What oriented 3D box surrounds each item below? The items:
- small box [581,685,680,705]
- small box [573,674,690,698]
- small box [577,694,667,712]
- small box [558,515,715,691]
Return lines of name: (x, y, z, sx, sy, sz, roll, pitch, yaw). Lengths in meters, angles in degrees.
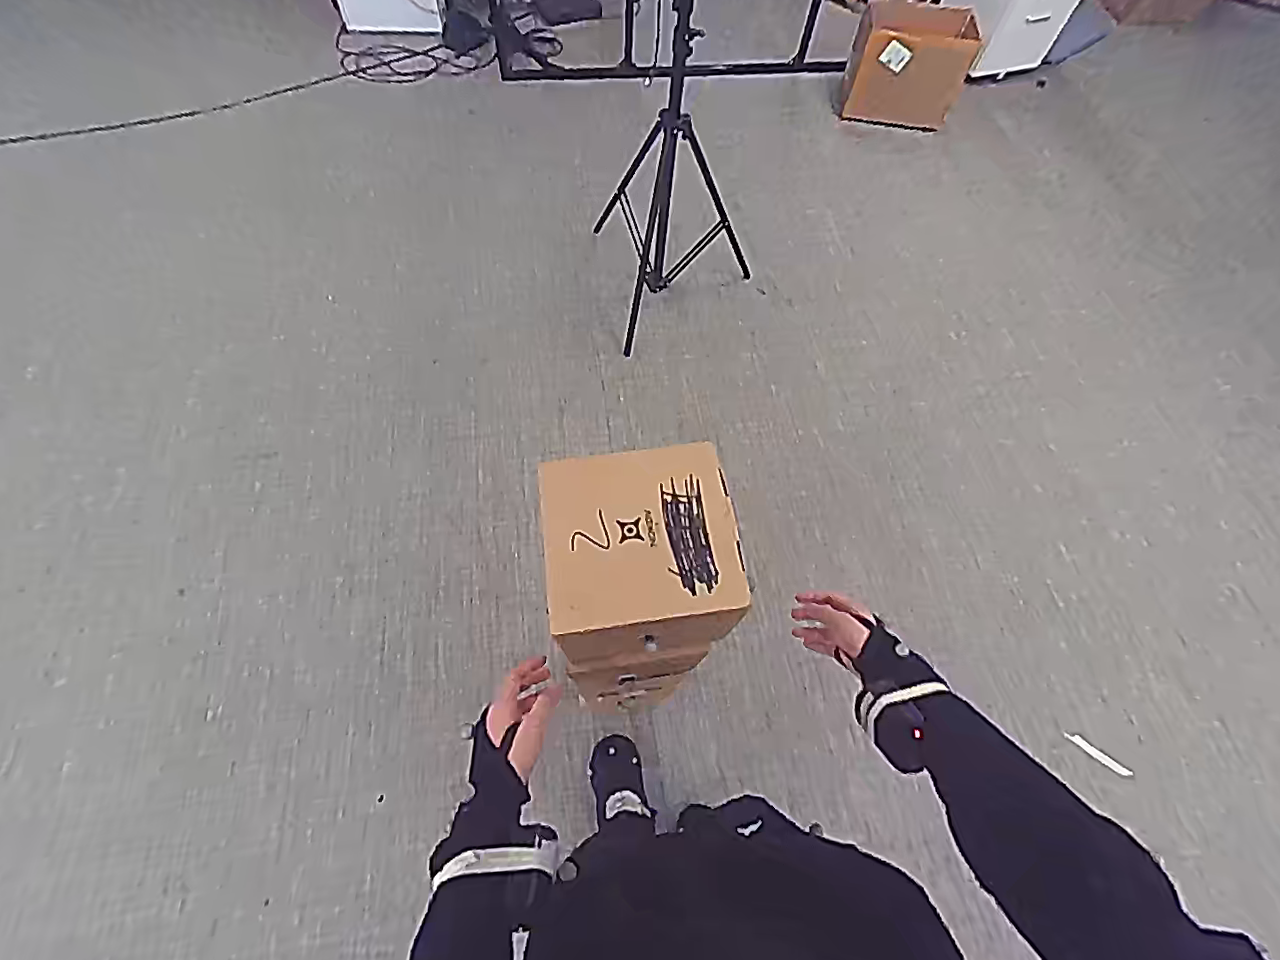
small box: (-0.025, 0.312, 0.991, 0.168, 0.176, 0.179, -5, 65, -5)
small box: (-0.021, 0.237, 0.845, 0.168, 0.176, 0.179, -6, 63, -5)
small box: (-0.040, 0.388, 1.135, 0.179, 0.176, 0.168, -4, 65, -5)
small box: (-0.012, 0.165, 0.700, 0.168, 0.176, 0.179, -8, 65, -5)
